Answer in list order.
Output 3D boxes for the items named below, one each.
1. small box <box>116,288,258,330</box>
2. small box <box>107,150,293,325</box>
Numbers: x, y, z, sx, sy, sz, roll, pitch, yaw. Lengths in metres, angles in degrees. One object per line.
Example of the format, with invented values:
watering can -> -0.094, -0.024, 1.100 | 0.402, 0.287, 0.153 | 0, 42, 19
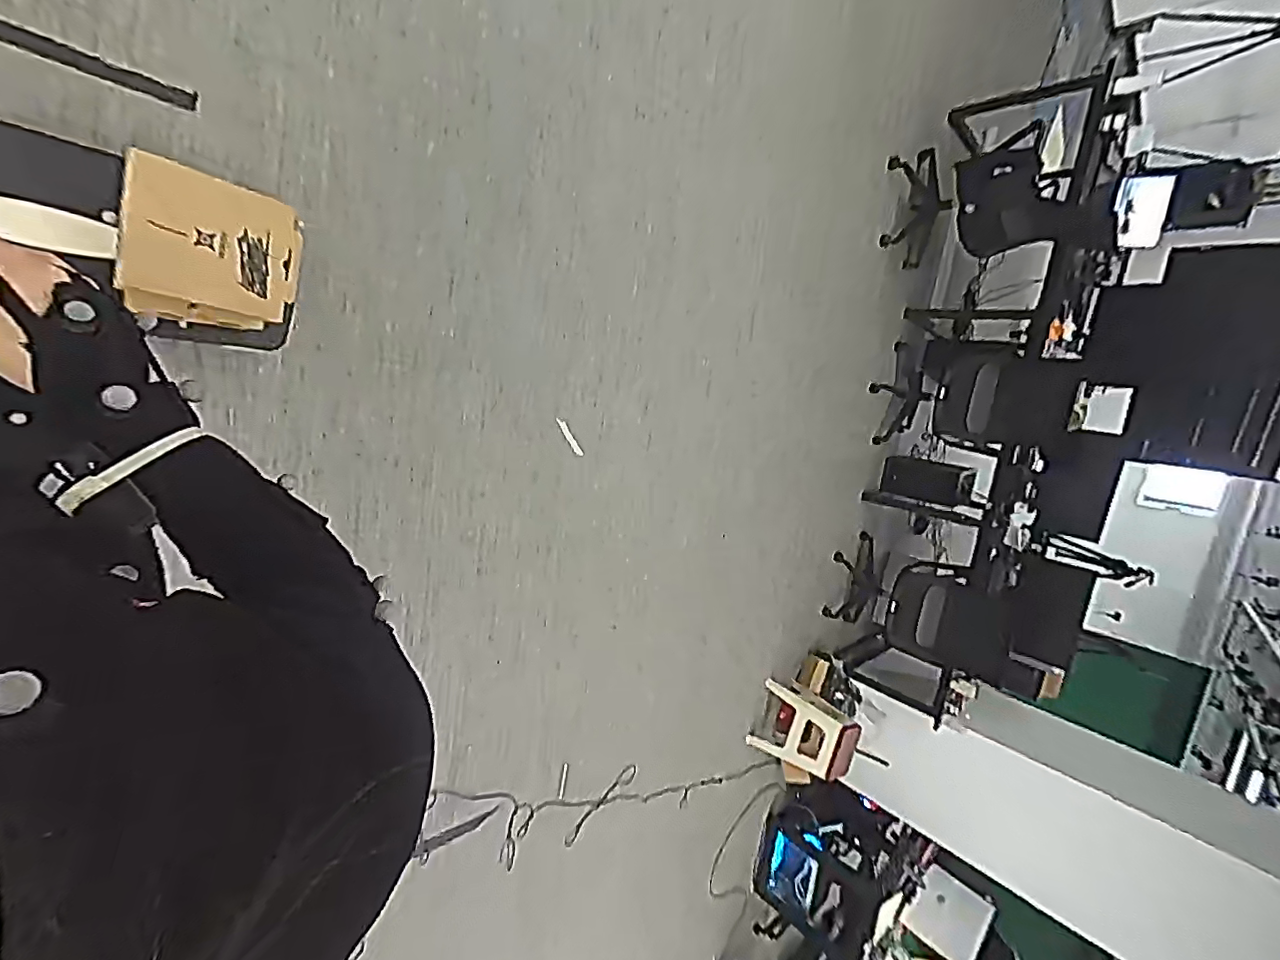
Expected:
small box -> -0.738, -0.350, 0.881 | 0.168, 0.176, 0.179 | -2, 105, -46
small box -> -0.623, -0.328, 0.765 | 0.179, 0.176, 0.168 | 6, 98, -46
